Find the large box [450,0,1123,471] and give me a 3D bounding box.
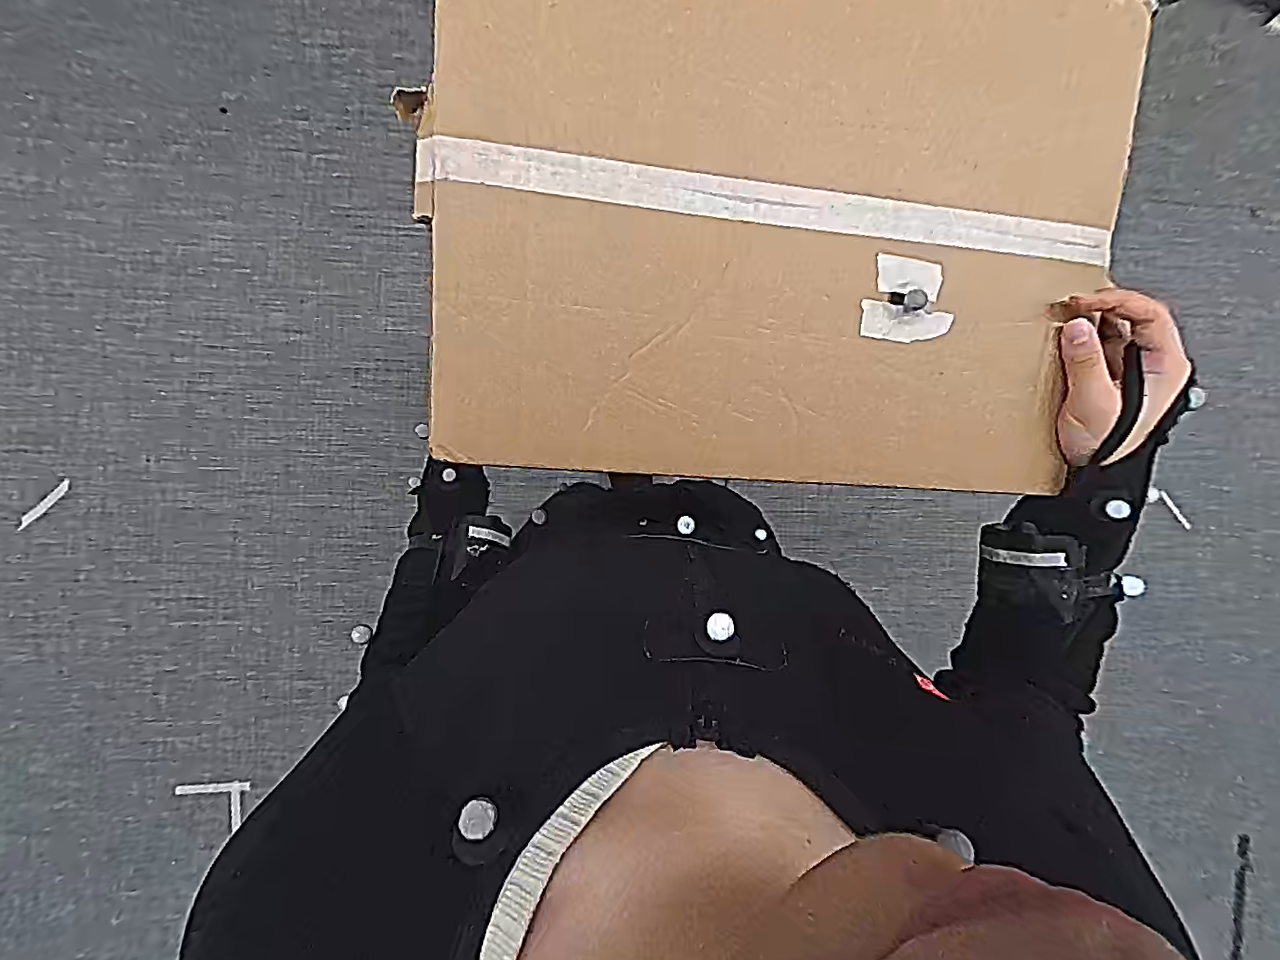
[{"bbox_3d":[0.069,-0.184,0.462,0.408,0.320,0.320,3,99,-11],"label":"large box"}]
